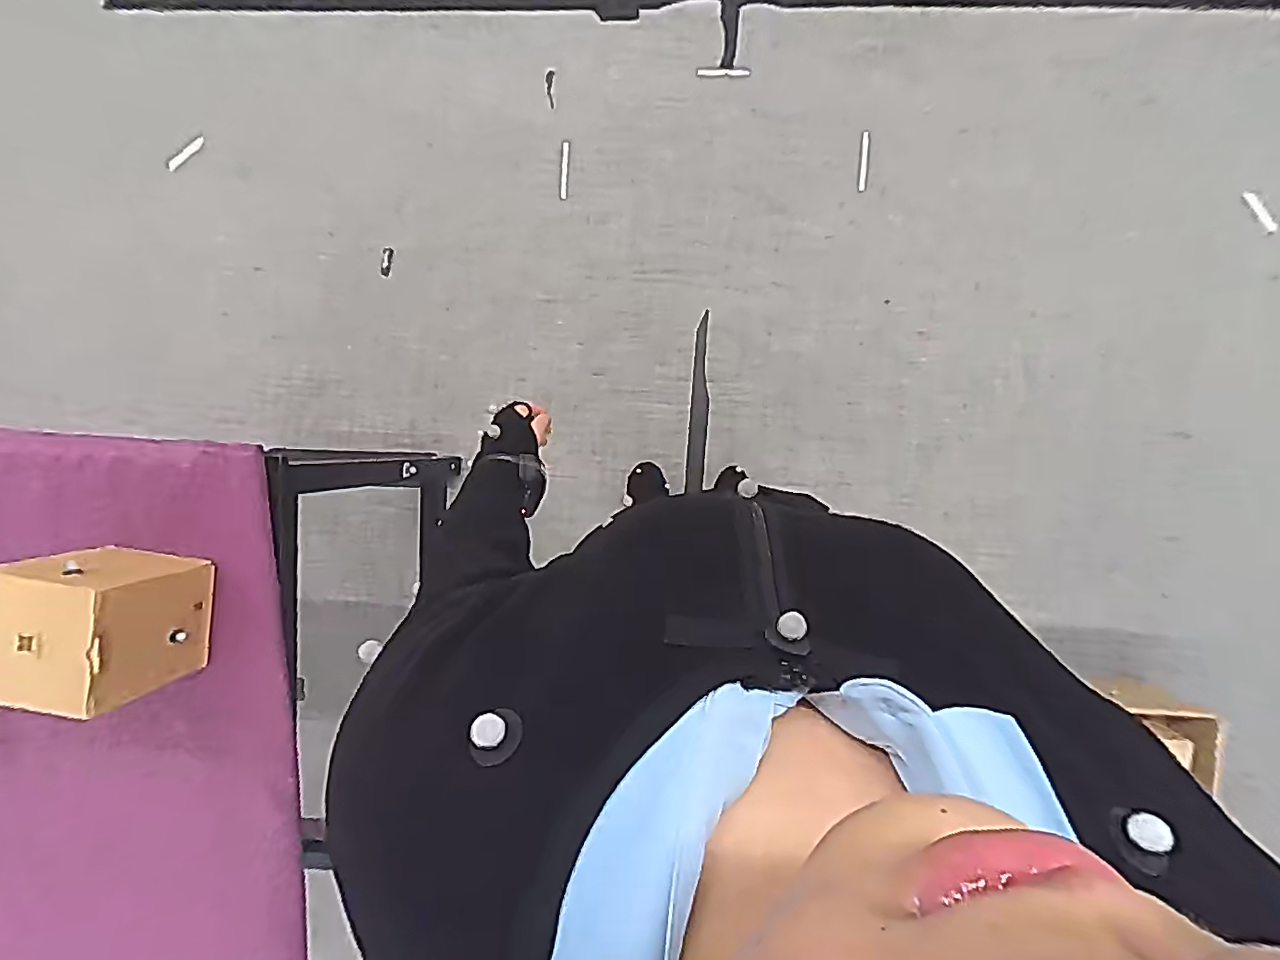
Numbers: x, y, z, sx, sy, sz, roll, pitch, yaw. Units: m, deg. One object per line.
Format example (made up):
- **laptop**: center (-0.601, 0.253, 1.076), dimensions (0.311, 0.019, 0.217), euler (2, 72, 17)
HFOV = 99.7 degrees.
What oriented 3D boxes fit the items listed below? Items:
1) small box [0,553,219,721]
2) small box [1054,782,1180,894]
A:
- **small box**: center (-0.737, 0.202, 0.745), dimensions (0.179, 0.176, 0.168), euler (7, 93, 4)
- **small box**: center (1.183, 0.887, 1.355), dimensions (0.179, 0.176, 0.168), euler (1, 93, 4)
